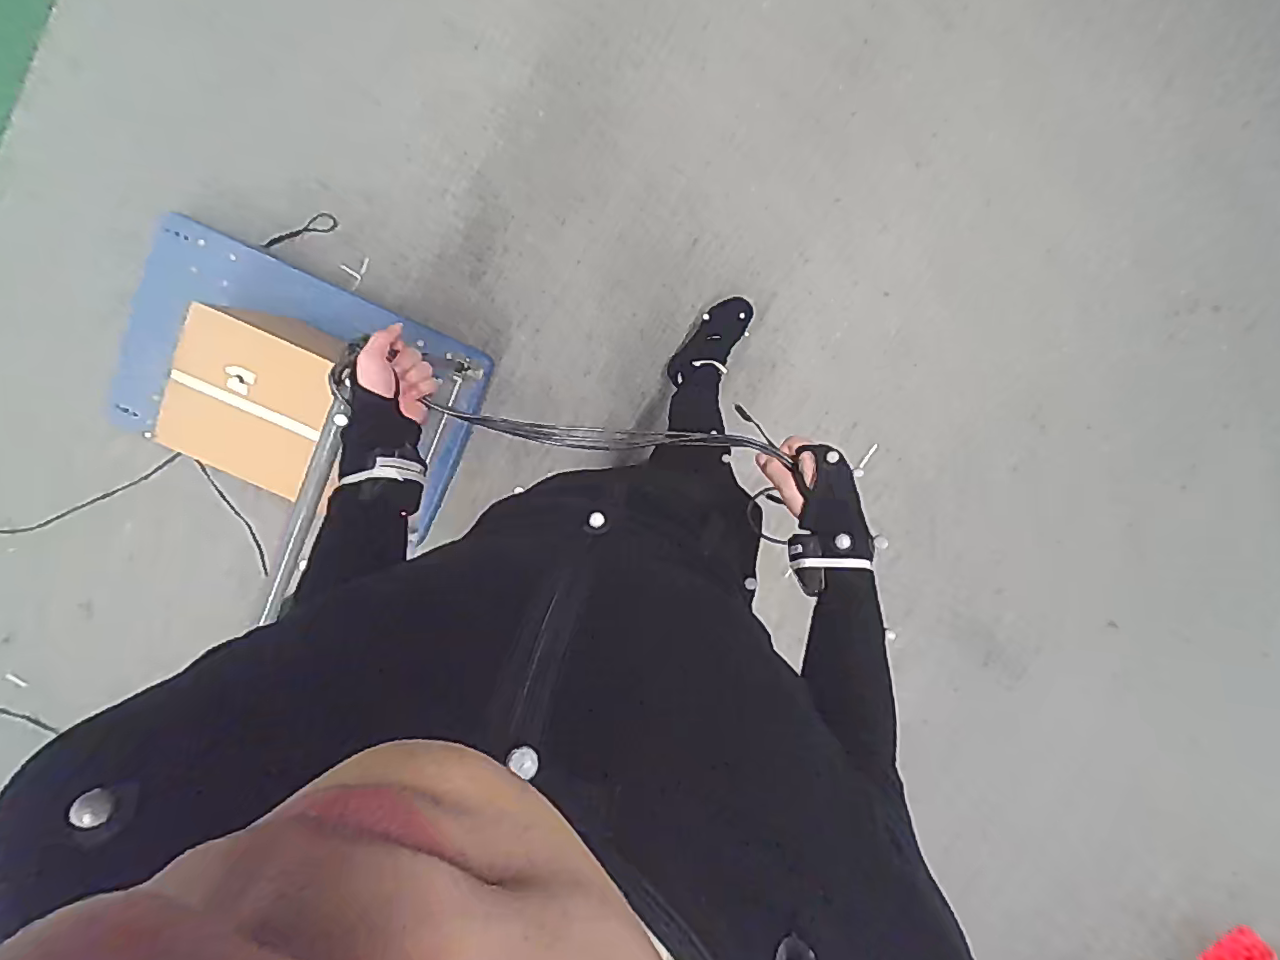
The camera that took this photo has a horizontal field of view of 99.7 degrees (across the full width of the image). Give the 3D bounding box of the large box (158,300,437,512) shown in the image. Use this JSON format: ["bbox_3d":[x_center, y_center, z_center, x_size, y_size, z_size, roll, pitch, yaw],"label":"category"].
[{"bbox_3d":[-0.758,-0.171,1.254,0.408,0.320,0.320,25,99,-3],"label":"large box"}]
